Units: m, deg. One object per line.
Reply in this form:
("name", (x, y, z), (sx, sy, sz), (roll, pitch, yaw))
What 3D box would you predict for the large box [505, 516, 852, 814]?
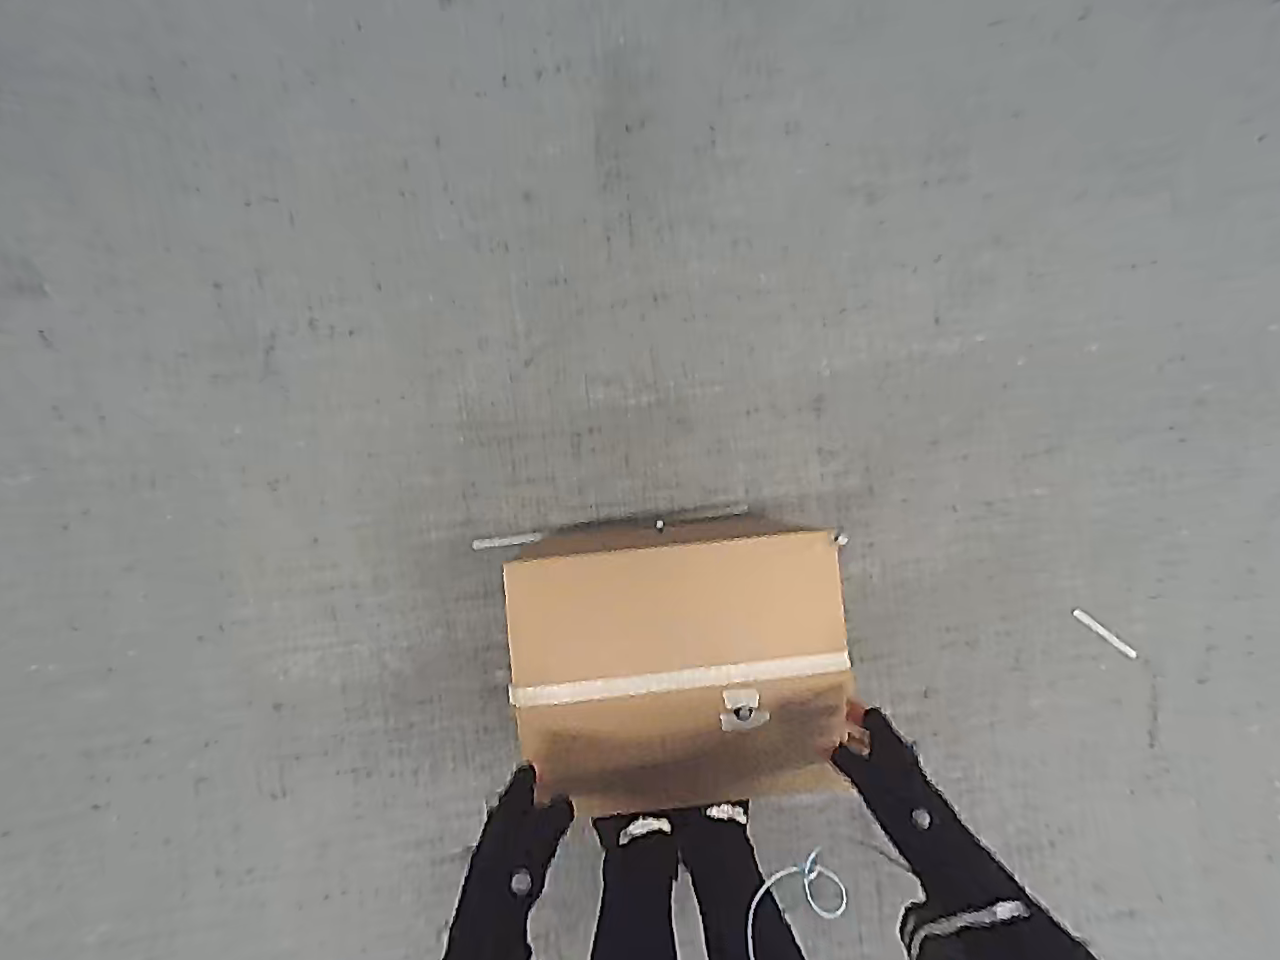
("large box", (0.042, 0.231, 0.807), (0.408, 0.320, 0.320), (-6, 90, -2))
